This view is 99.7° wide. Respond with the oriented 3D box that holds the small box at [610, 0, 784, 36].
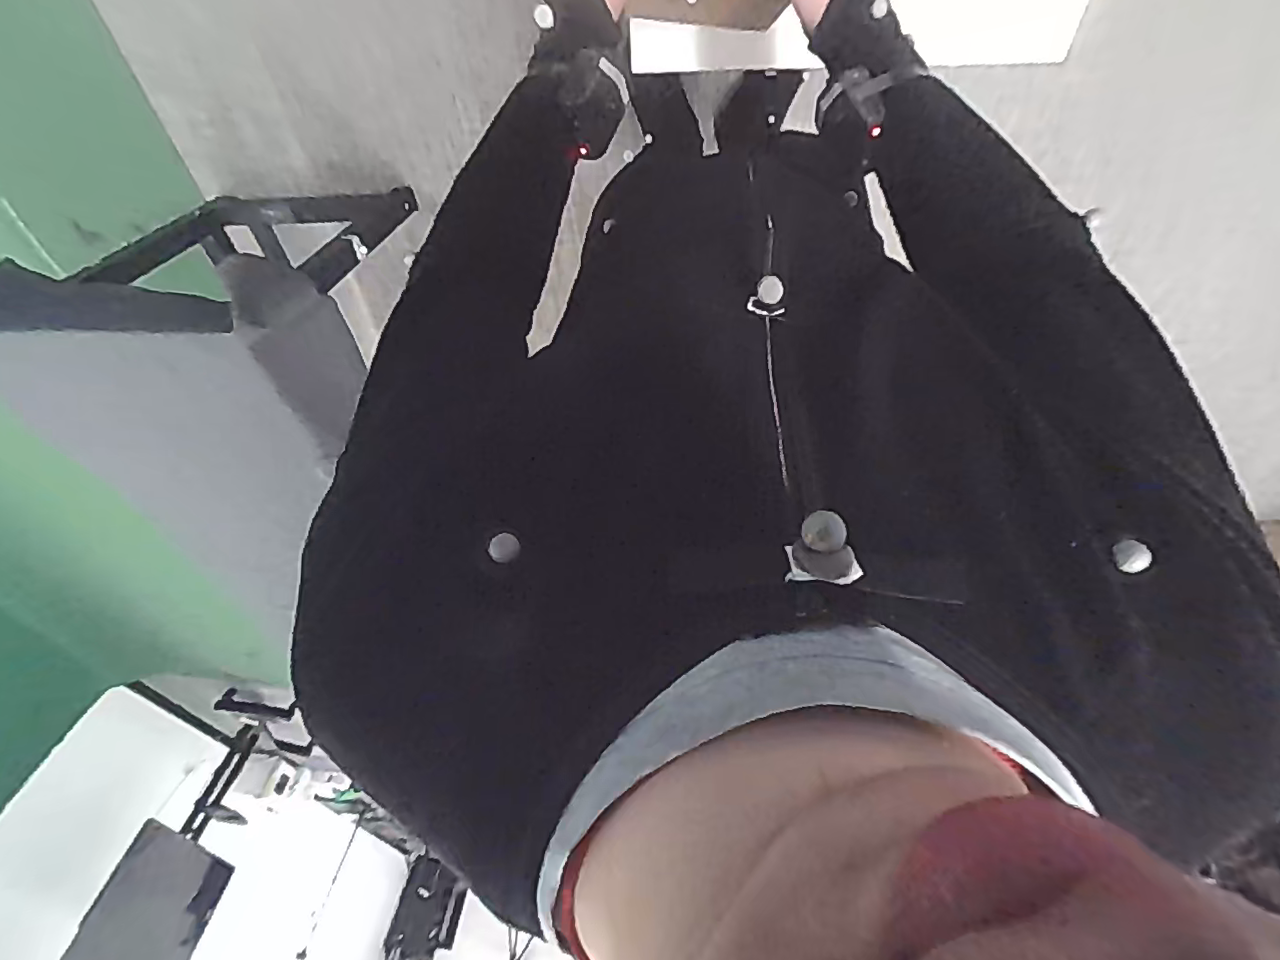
[{"bbox_3d":[0.061,-0.528,0.483,0.179,0.176,0.168,3,117,-4],"label":"small box"}]
